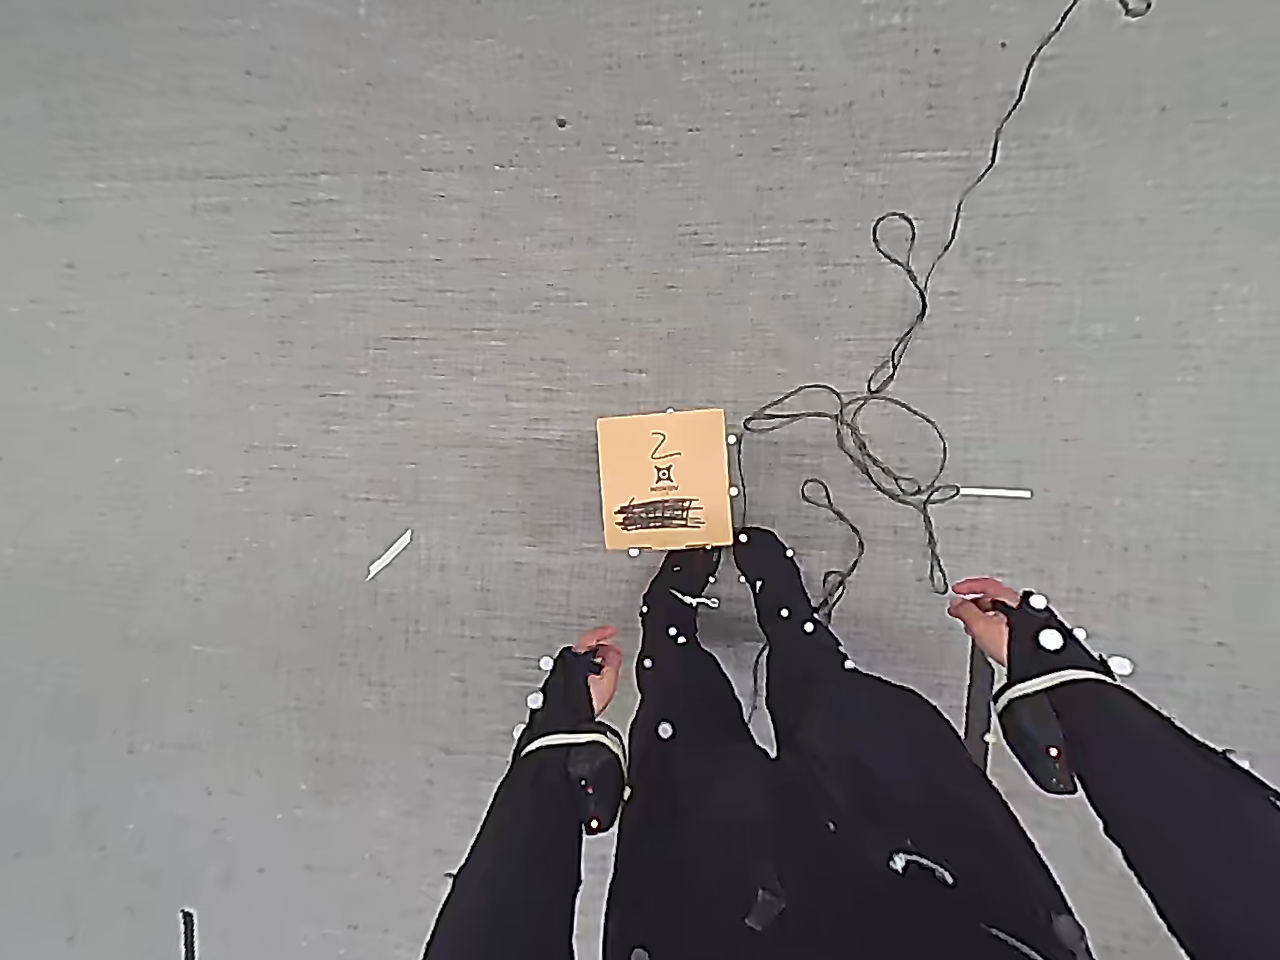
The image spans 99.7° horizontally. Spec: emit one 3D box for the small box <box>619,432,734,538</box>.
[{"bbox_3d":[0.067,0.004,0.931,0.179,0.176,0.168,-3,93,9],"label":"small box"}]
